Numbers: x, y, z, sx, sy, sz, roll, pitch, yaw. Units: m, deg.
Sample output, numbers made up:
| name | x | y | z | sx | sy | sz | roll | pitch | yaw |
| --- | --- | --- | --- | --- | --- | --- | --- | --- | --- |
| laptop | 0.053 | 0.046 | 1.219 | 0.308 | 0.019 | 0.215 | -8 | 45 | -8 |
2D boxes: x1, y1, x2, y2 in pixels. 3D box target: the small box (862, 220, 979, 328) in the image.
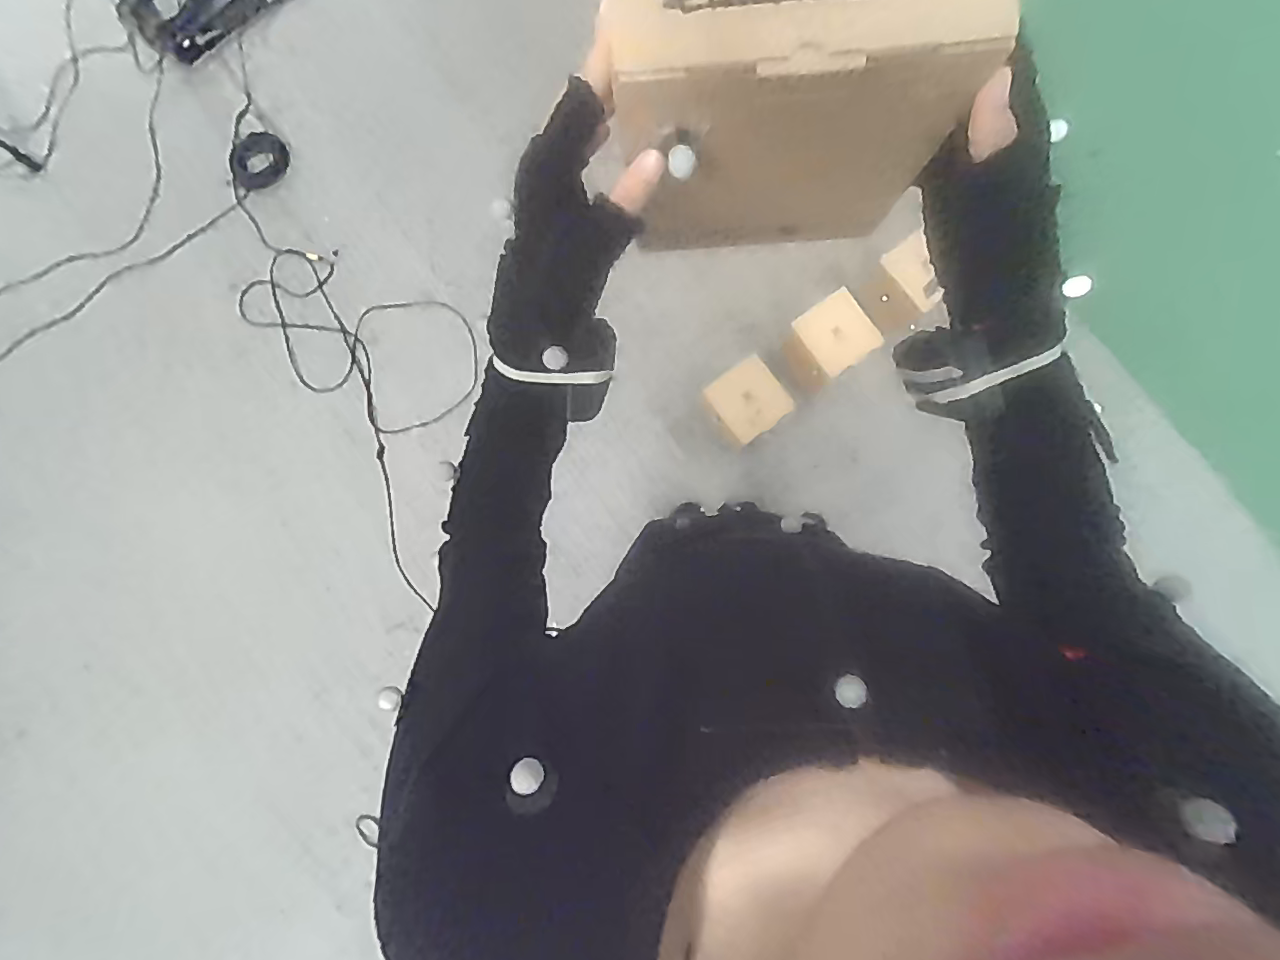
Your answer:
| name | x | y | z | sx | sy | sz | roll | pitch | yaw |
| --- | --- | --- | --- | --- | --- | --- | --- | --- | --- |
| small box | 0.710 | -0.515 | 1.390 | 0.168 | 0.176 | 0.179 | -38 | 85 | 1 |

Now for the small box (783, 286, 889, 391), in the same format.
| name | x | y | z | sx | sy | sz | roll | pitch | yaw |
| --- | --- | --- | --- | --- | --- | --- | --- | --- | --- |
| small box | 0.494 | -0.356 | 1.397 | 0.168 | 0.176 | 0.179 | -35 | 86 | 1 |

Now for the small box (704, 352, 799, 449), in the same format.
| name | x | y | z | sx | sy | sz | roll | pitch | yaw |
| --- | --- | --- | --- | --- | --- | --- | --- | --- | --- |
| small box | 0.278 | -0.196 | 1.400 | 0.168 | 0.176 | 0.179 | -37 | 86 | 2 |
